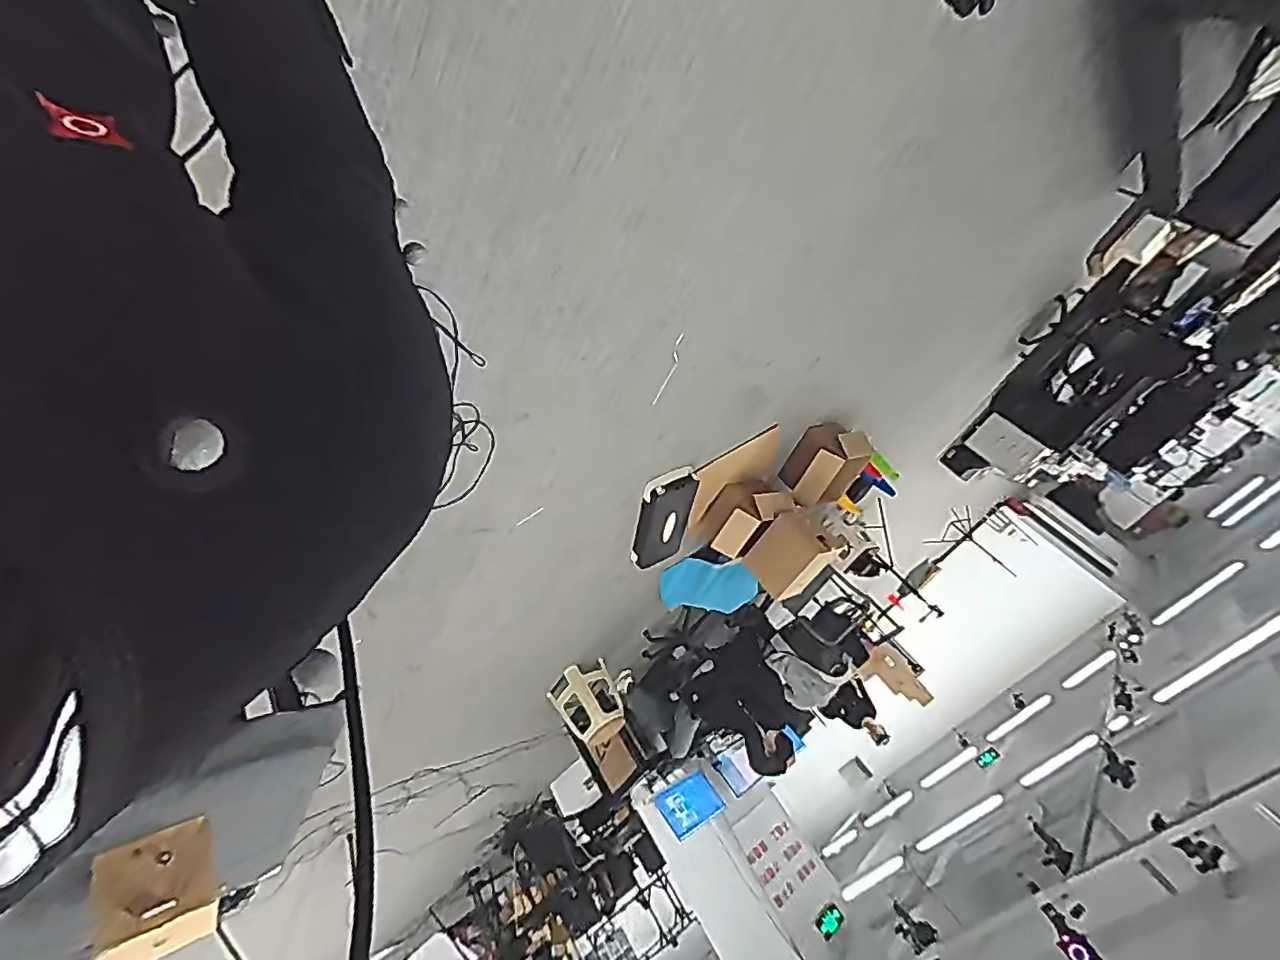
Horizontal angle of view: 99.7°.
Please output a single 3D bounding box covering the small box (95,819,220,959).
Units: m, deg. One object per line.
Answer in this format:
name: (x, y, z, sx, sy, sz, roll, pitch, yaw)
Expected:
small box: (-0.916, 0.791, 1.030, 0.168, 0.176, 0.179, -5, 134, -43)
